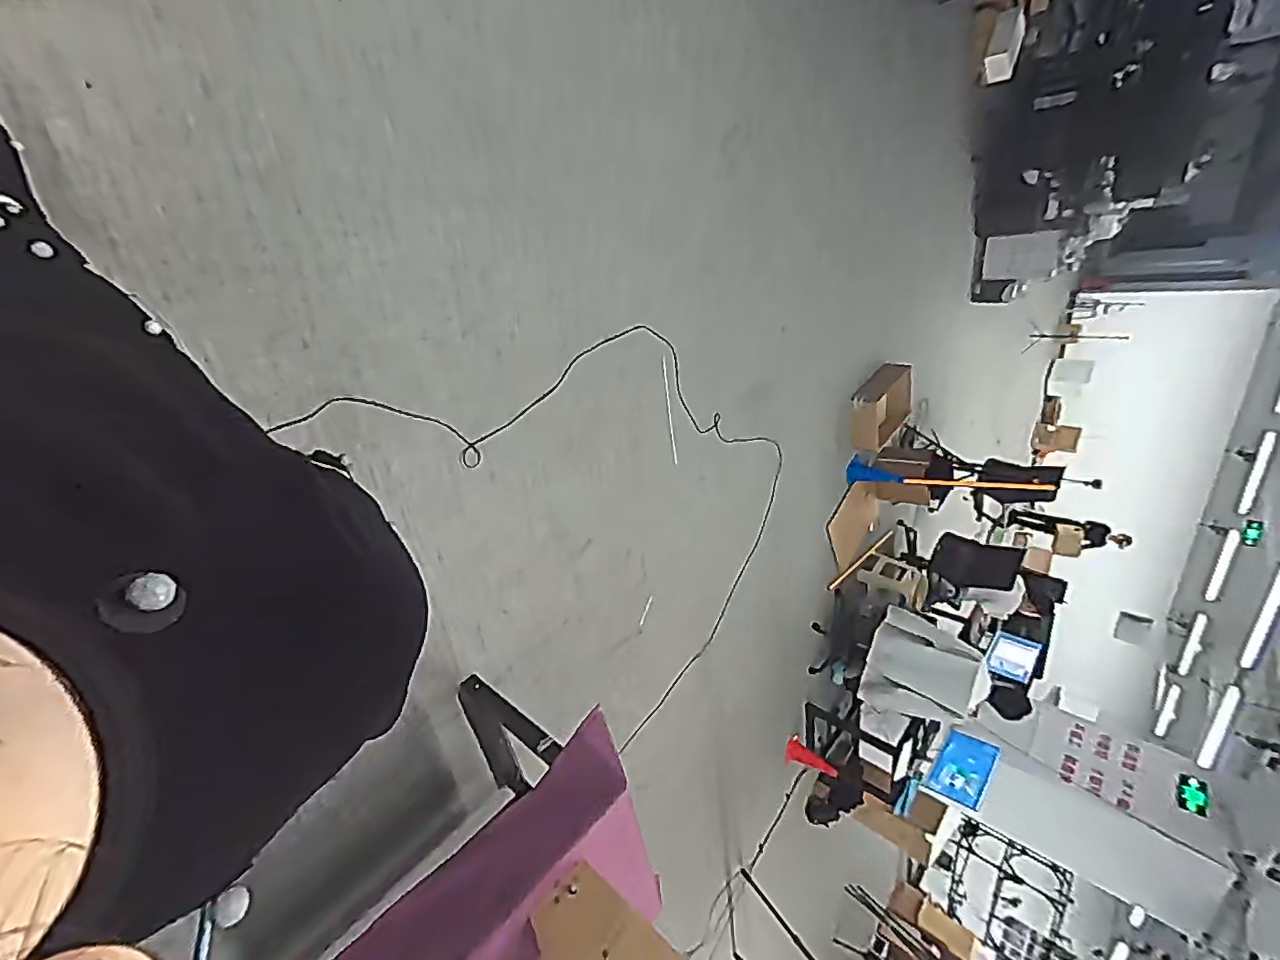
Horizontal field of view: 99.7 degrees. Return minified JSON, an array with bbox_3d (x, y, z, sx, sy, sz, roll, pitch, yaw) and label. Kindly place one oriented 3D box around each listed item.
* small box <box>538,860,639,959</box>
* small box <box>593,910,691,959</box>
[{"bbox_3d":[-0.111,1.038,1.246,0.168,0.176,0.179,-27,120,-40],"label":"small box"},{"bbox_3d":[0.008,1.070,1.137,0.168,0.176,0.179,-29,122,-40],"label":"small box"}]
